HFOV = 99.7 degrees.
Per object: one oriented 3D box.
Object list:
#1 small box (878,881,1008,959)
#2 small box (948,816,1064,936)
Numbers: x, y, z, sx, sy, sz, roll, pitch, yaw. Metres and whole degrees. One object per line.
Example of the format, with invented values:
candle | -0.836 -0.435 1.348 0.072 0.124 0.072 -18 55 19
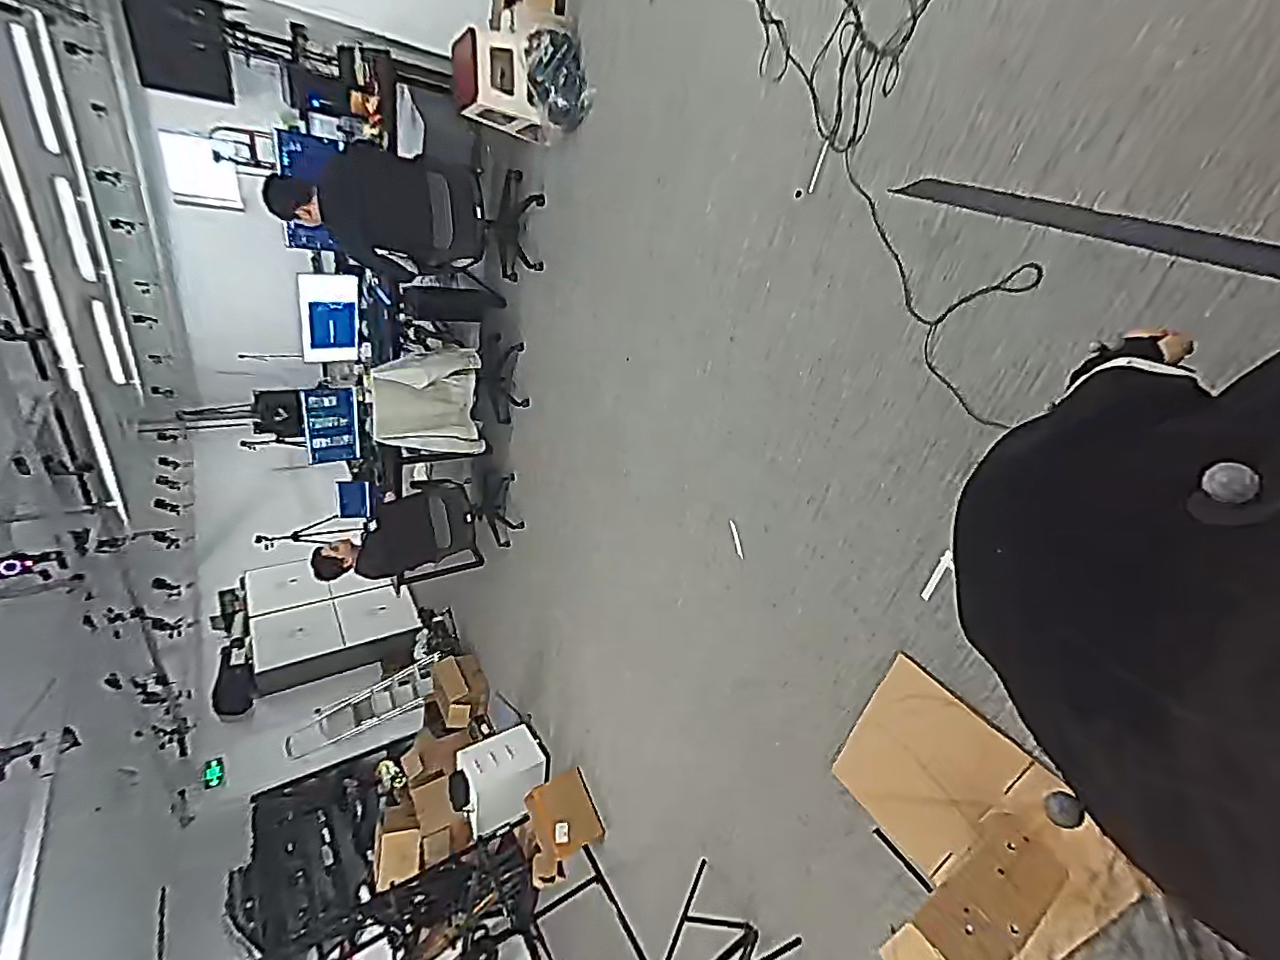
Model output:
small box | 0.692 1.076 1.235 0.168 0.176 0.179 44 131 41
small box | 0.962 1.029 1.417 0.168 0.176 0.179 47 134 40
